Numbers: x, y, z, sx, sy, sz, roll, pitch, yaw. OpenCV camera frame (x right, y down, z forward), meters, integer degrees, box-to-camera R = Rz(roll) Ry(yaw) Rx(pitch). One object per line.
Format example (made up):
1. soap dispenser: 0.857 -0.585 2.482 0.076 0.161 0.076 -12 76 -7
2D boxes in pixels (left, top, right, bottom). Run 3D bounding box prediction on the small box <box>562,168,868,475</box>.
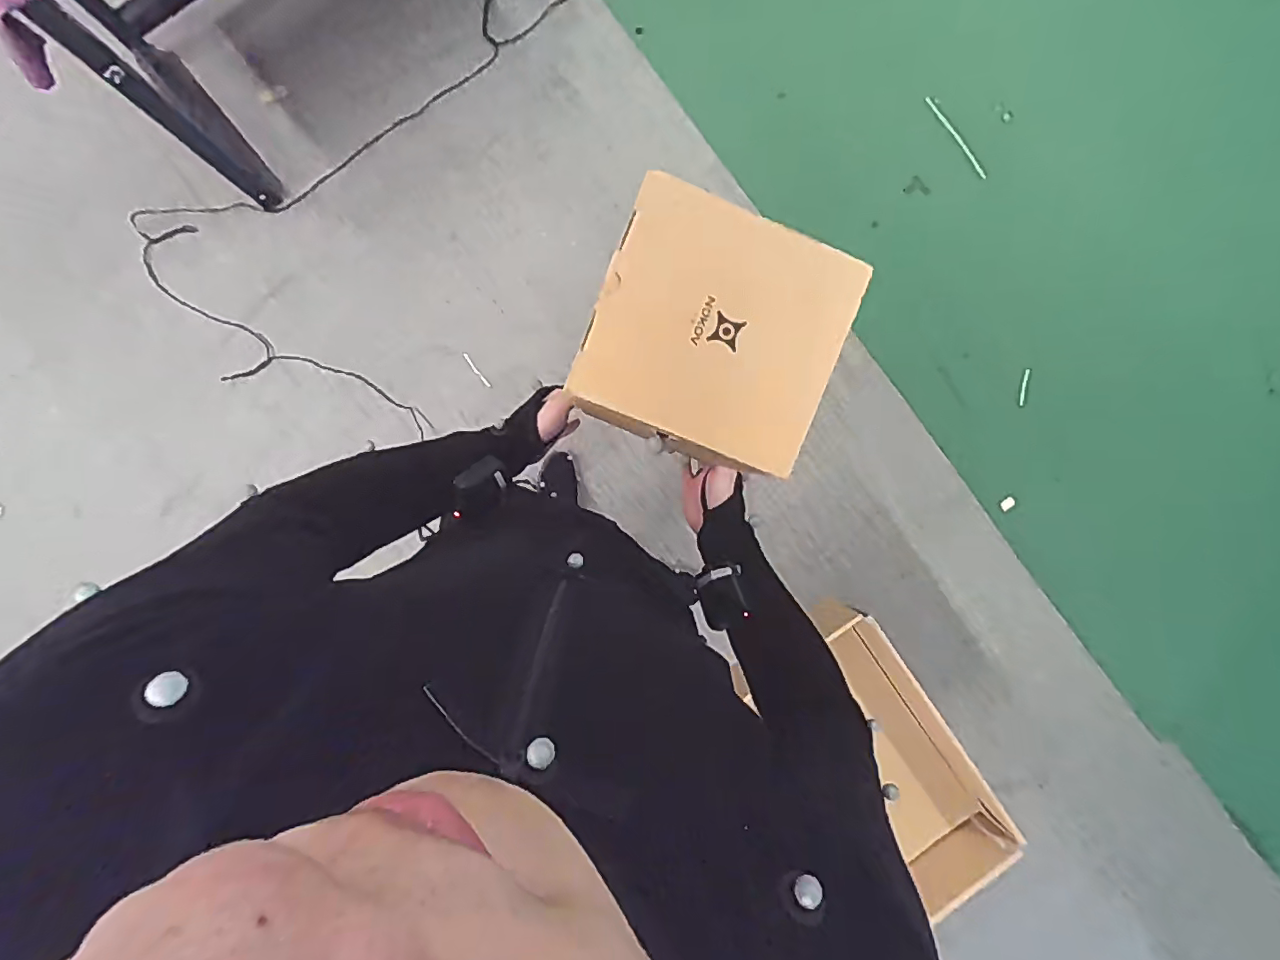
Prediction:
1. small box: 0.050 -0.117 0.460 0.179 0.176 0.168 21 94 -5
